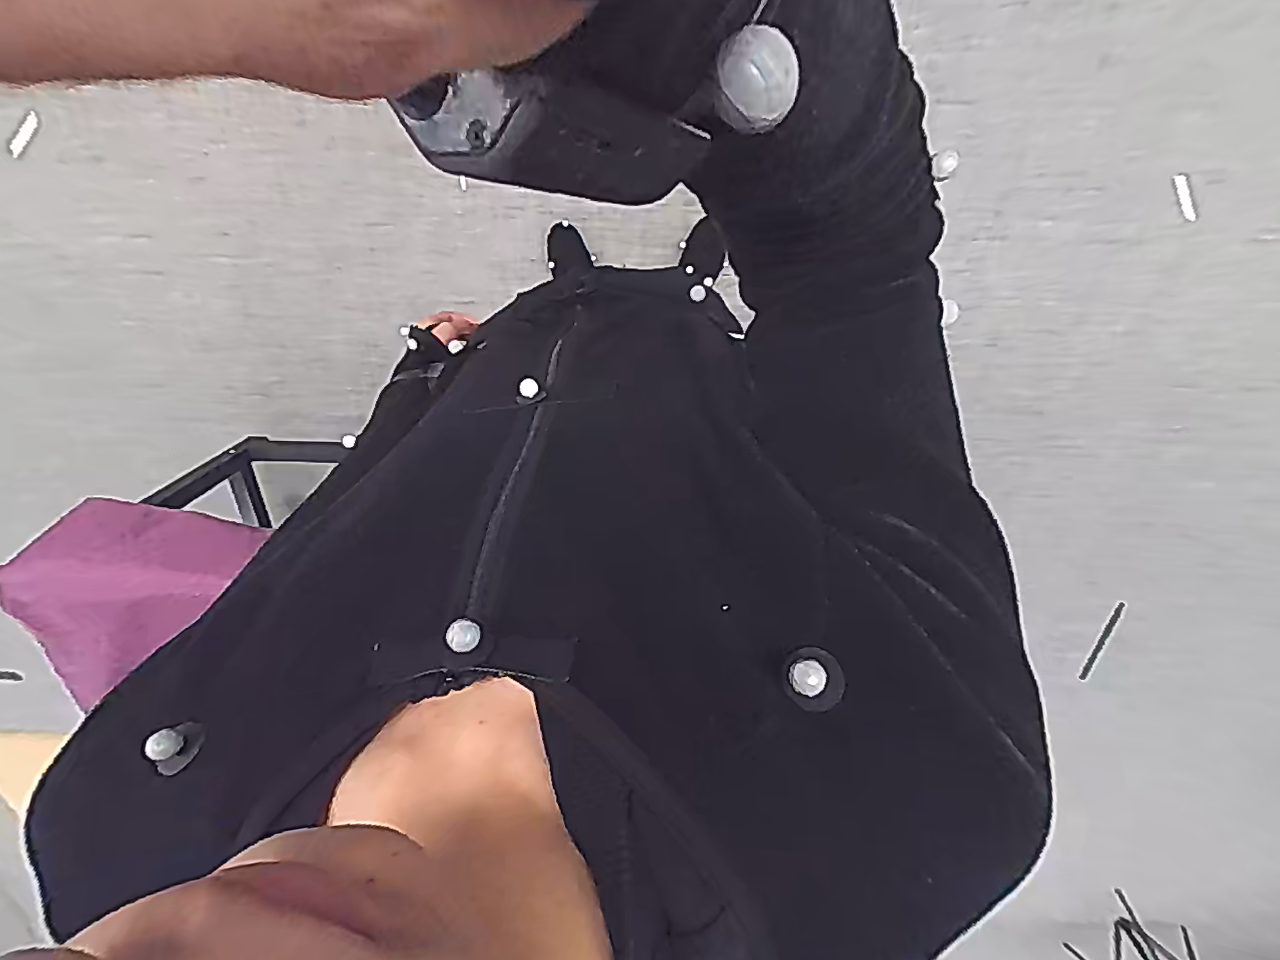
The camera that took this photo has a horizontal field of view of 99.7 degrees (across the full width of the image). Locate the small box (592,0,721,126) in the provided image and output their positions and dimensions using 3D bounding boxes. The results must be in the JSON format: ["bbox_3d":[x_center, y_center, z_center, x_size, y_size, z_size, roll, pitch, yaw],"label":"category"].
[{"bbox_3d":[0.031,-0.722,0.913,0.168,0.176,0.179,-17,117,9],"label":"small box"}]
